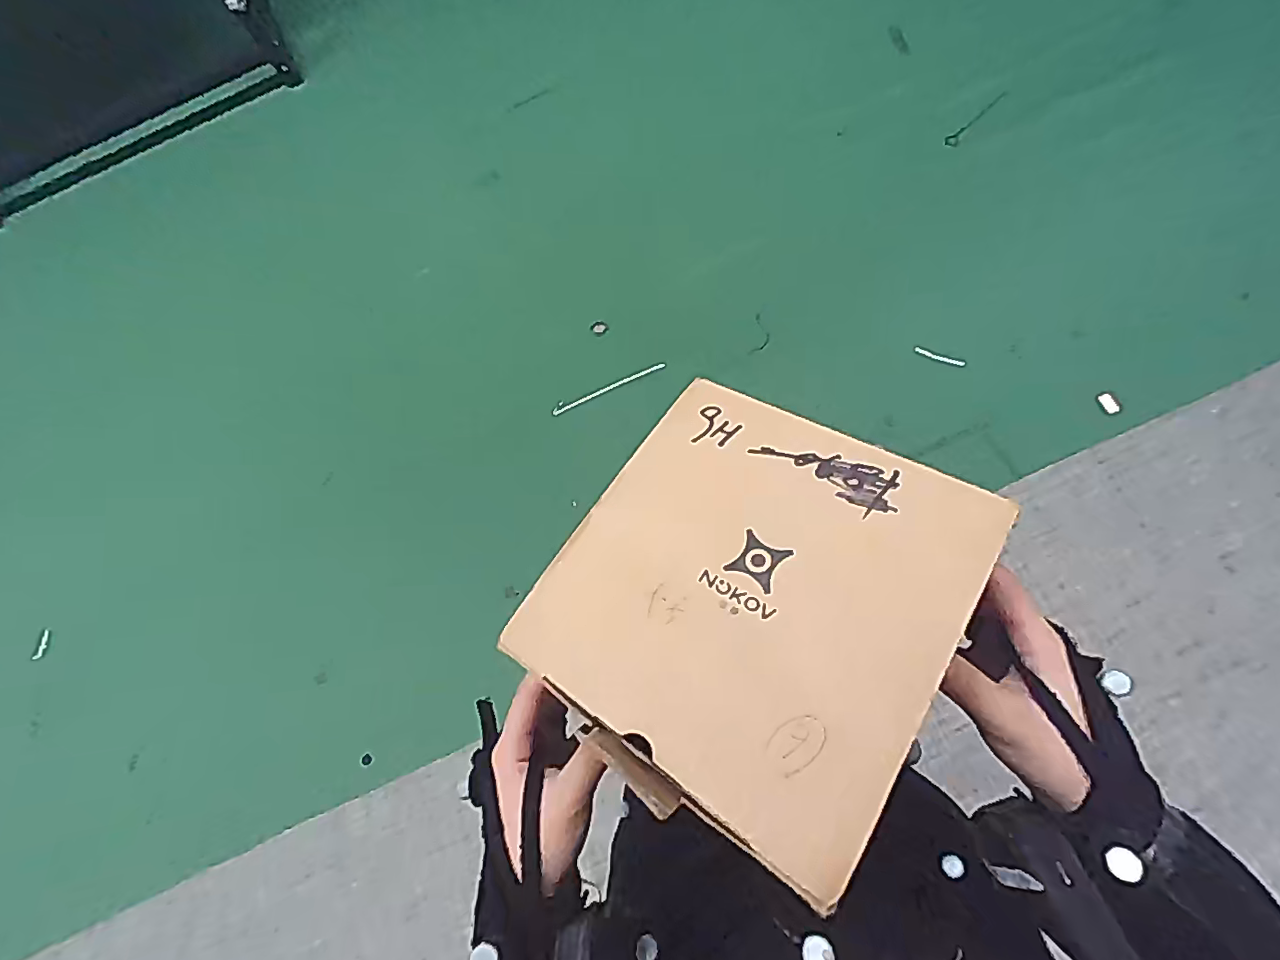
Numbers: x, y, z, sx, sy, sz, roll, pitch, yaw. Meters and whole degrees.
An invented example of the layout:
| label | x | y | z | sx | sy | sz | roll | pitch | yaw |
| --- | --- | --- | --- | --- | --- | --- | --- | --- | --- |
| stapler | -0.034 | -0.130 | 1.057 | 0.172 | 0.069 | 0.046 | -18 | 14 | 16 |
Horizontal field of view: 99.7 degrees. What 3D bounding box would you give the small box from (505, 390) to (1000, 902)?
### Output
| label | x | y | z | sx | sy | sz | roll | pitch | yaw |
| --- | --- | --- | --- | --- | --- | --- | --- | --- | --- |
| small box | 0.064 | 0.086 | 0.314 | 0.168 | 0.176 | 0.179 | 28 | 71 | 26 |
